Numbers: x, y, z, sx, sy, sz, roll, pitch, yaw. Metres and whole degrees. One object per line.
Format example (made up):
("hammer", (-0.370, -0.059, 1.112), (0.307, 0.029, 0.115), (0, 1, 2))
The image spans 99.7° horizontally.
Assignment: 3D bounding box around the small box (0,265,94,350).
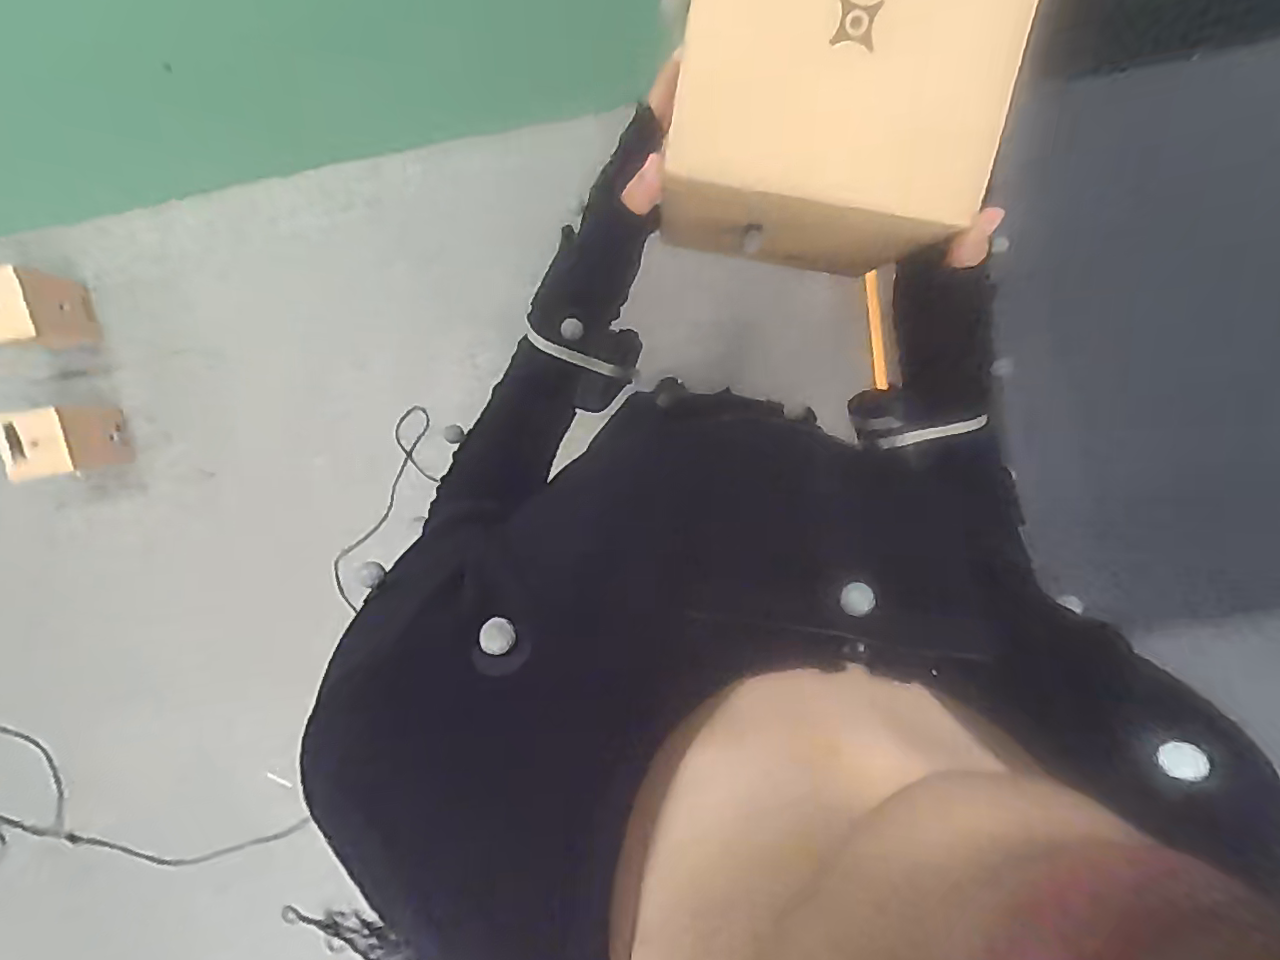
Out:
("small box", (-1.543, -0.427, 1.361), (0.179, 0.176, 0.168), (-9, 98, 2))
